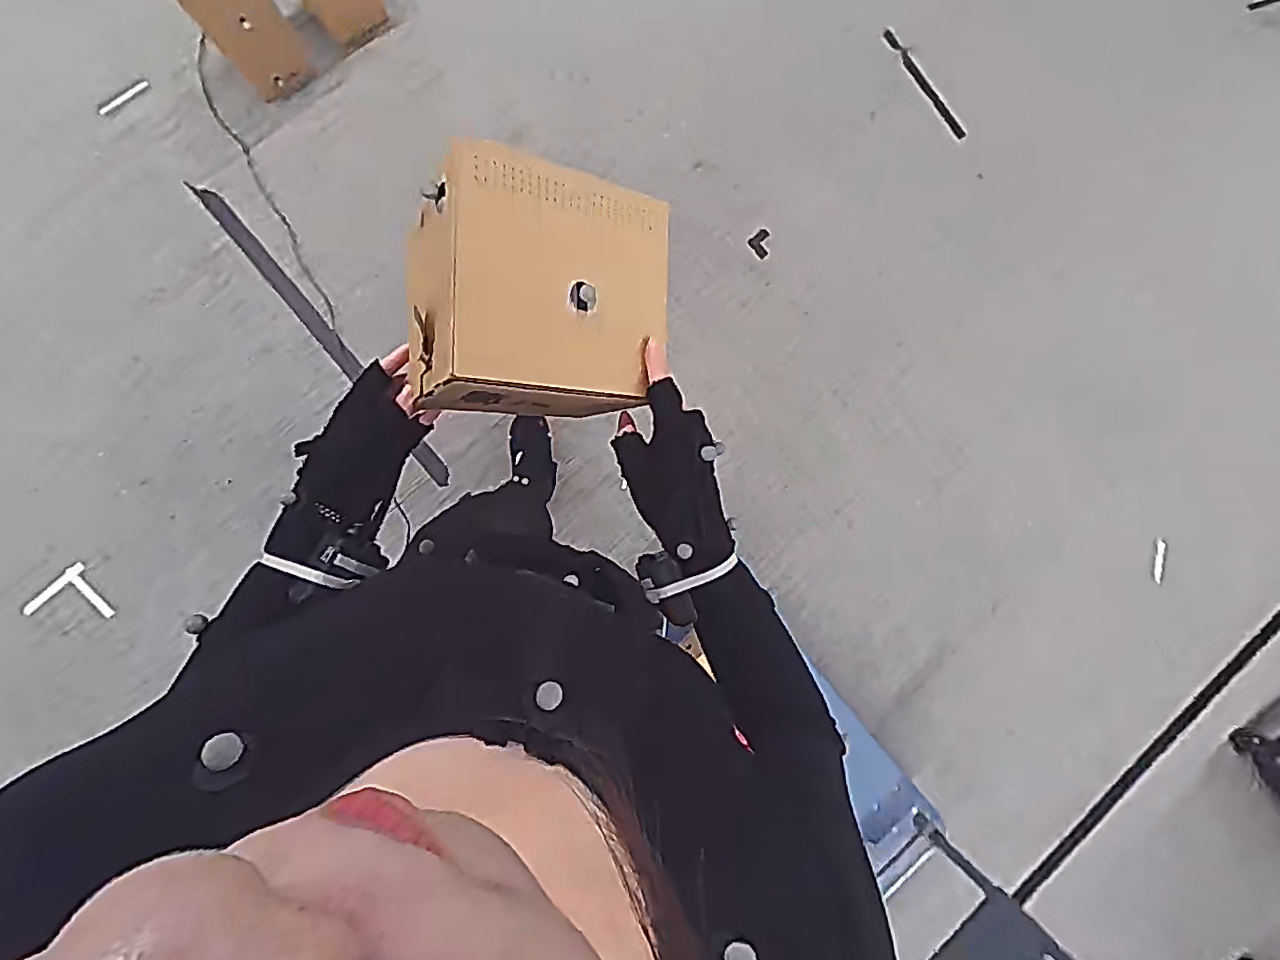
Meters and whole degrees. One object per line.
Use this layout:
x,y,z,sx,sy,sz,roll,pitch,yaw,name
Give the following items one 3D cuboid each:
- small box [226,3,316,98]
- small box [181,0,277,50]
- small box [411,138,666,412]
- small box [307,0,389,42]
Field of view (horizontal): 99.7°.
-0.975,-1.130,1.366,0.168,0.176,0.179,-39,93,-4,small box
-0.957,-1.129,1.203,0.179,0.176,0.168,-40,92,-5,small box
-0.094,-0.157,0.469,0.179,0.168,0.176,-1,91,-32,small box
-0.787,-1.294,1.391,0.179,0.176,0.168,-38,92,-6,small box
